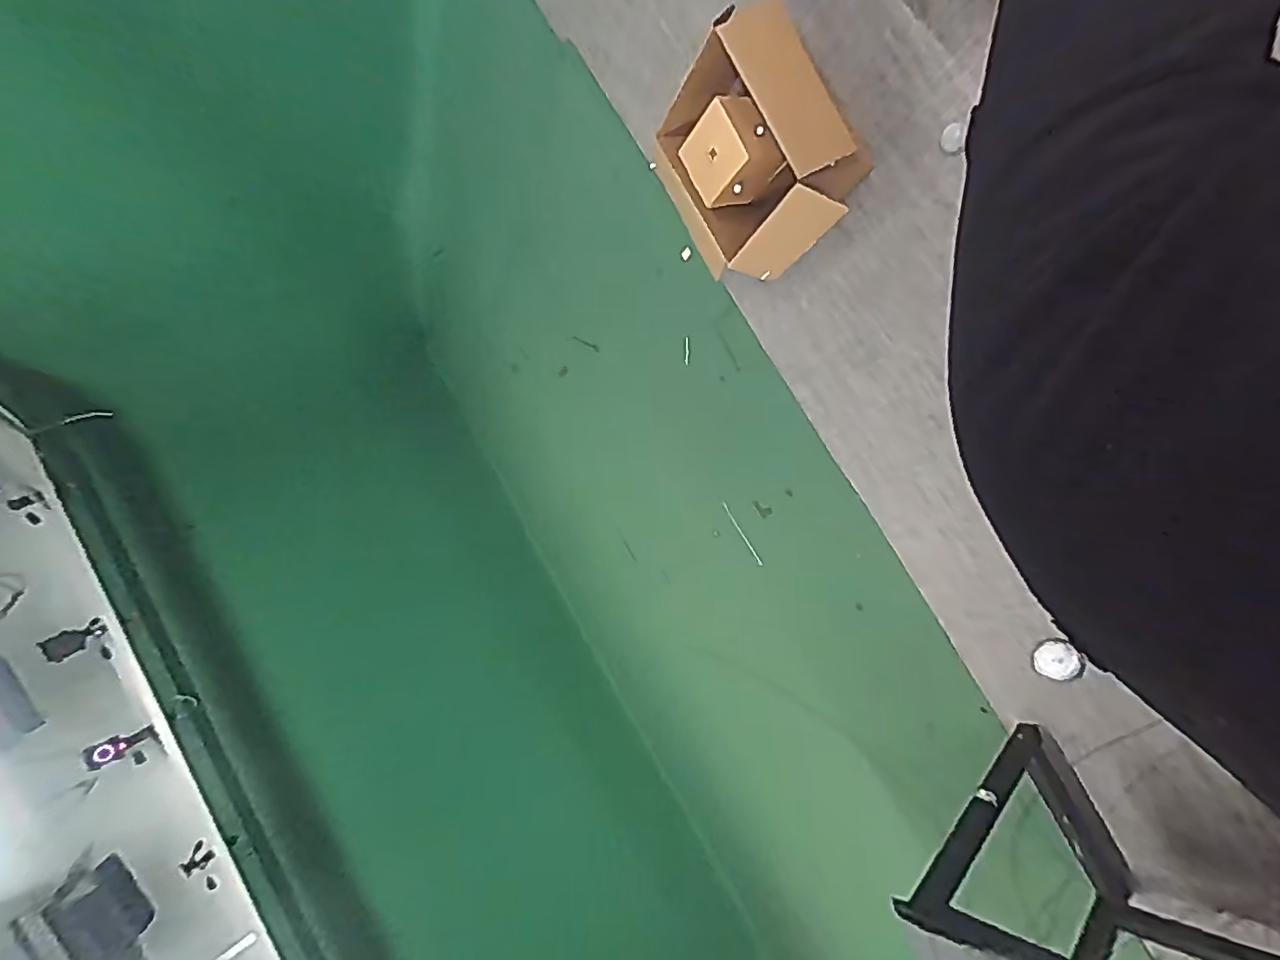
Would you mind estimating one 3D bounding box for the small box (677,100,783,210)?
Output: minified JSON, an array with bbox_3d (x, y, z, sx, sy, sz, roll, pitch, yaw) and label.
[{"bbox_3d":[0.233,-0.819,1.360,0.168,0.176,0.179,62,148,2],"label":"small box"}]
